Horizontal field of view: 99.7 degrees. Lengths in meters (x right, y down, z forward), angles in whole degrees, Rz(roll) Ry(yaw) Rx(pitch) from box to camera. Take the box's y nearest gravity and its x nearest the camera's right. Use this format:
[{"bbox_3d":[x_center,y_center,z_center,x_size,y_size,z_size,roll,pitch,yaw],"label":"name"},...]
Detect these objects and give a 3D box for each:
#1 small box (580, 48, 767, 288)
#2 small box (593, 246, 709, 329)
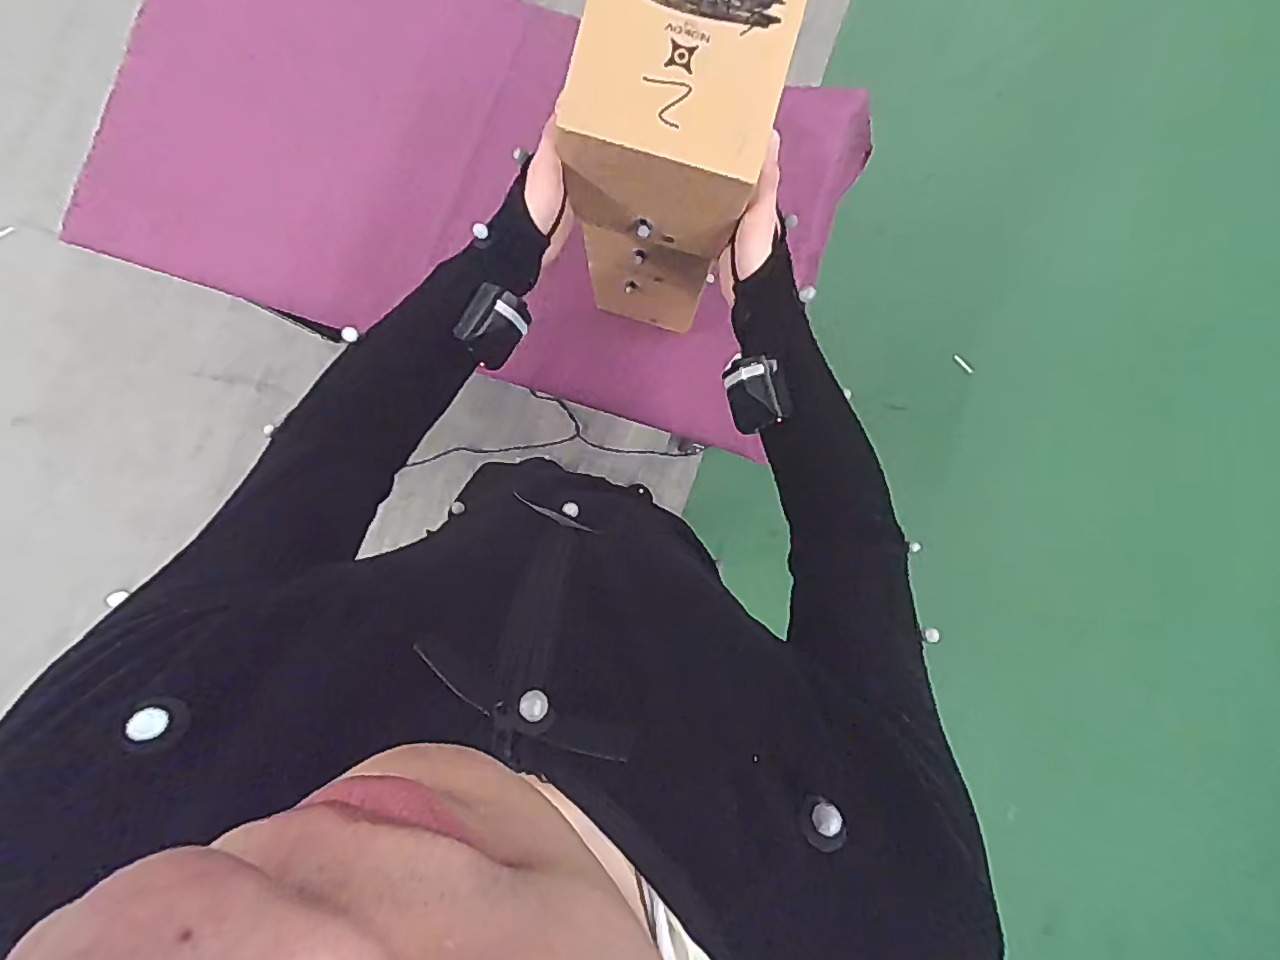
[{"bbox_3d":[0.036,-0.366,0.671,0.168,0.176,0.179,18,88,-1],"label":"small box"},{"bbox_3d":[0.032,-0.360,0.837,0.168,0.176,0.179,17,88,0],"label":"small box"}]
